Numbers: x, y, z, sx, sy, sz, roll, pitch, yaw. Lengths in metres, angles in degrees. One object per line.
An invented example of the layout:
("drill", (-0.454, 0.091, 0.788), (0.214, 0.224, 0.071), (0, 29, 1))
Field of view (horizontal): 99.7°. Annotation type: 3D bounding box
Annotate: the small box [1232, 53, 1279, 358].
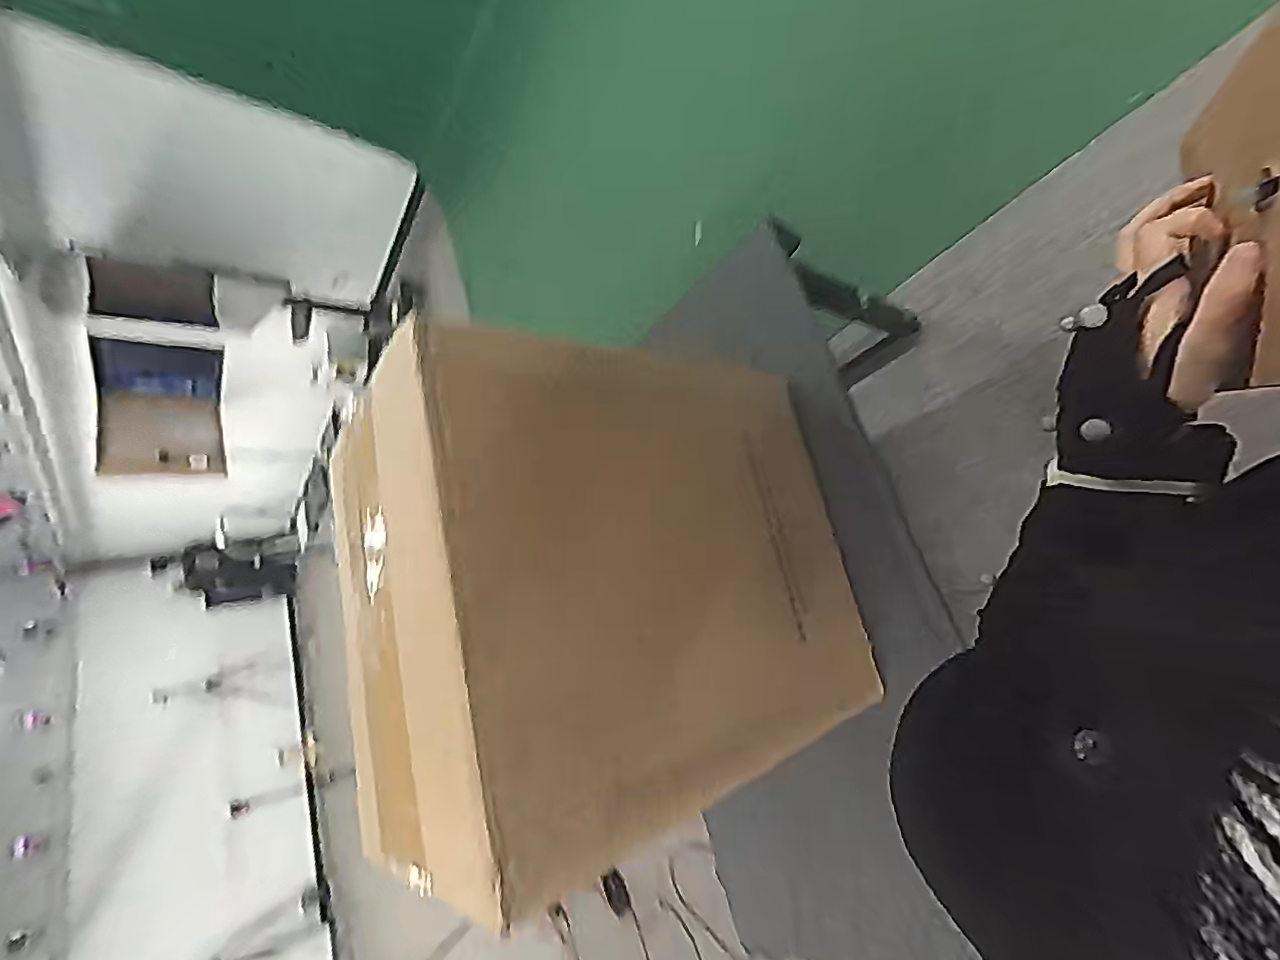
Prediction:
("small box", (0.420, -0.162, 0.248), (0.168, 0.176, 0.179), (-5, 94, 33))
